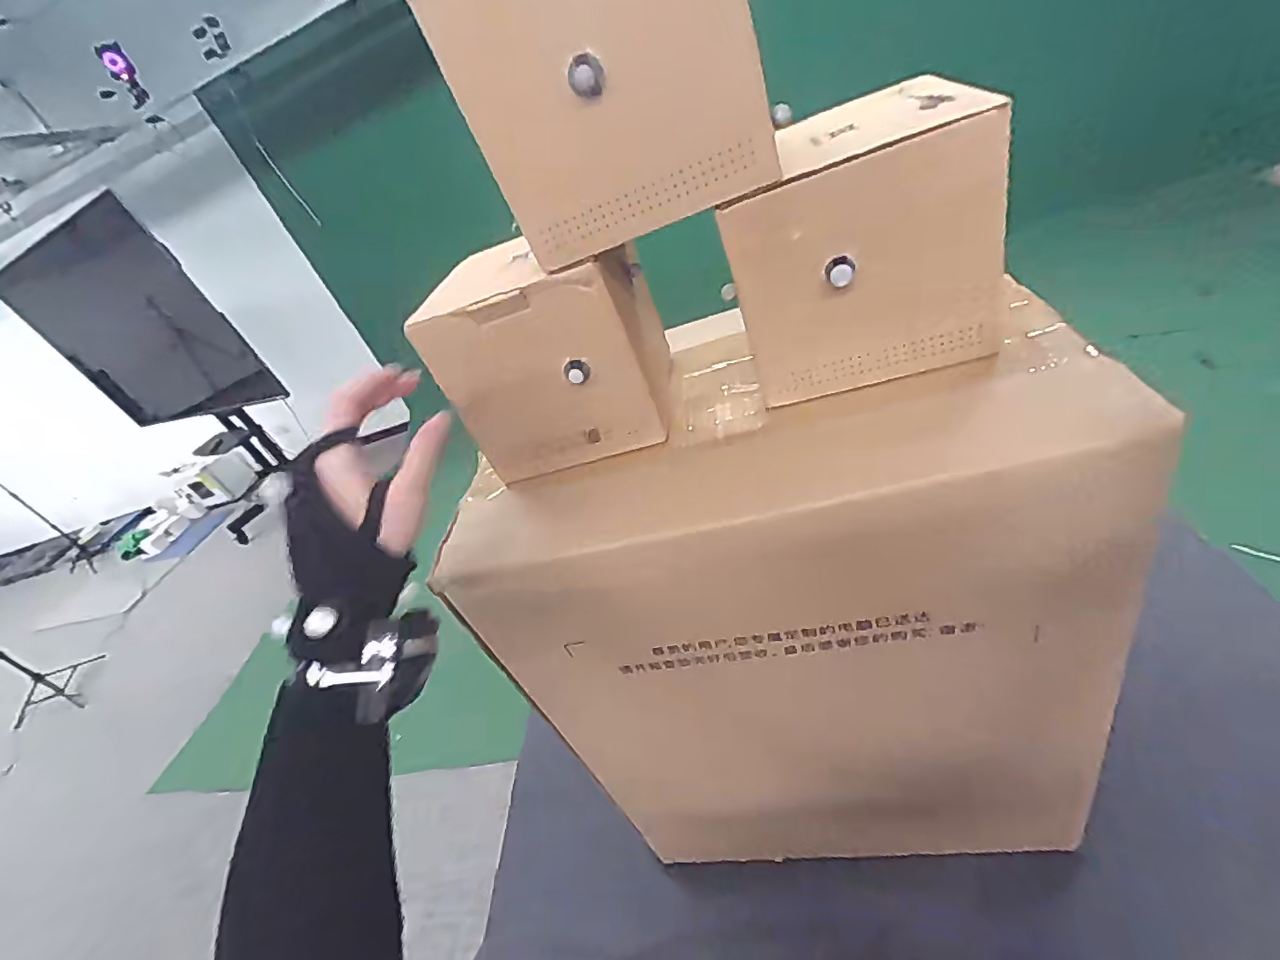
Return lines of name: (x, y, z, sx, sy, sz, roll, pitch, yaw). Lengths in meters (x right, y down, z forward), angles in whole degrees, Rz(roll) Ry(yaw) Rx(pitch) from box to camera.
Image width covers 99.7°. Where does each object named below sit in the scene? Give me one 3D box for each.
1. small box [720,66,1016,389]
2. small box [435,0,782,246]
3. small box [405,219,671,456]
small box: (0.170, -0.195, 0.434, 0.179, 0.176, 0.168, -13, 37, 16)
small box: (-0.007, -0.290, 0.373, 0.179, 0.176, 0.168, -15, 36, 15)
small box: (-0.072, -0.137, 0.499, 0.168, 0.176, 0.179, -12, 35, 13)
